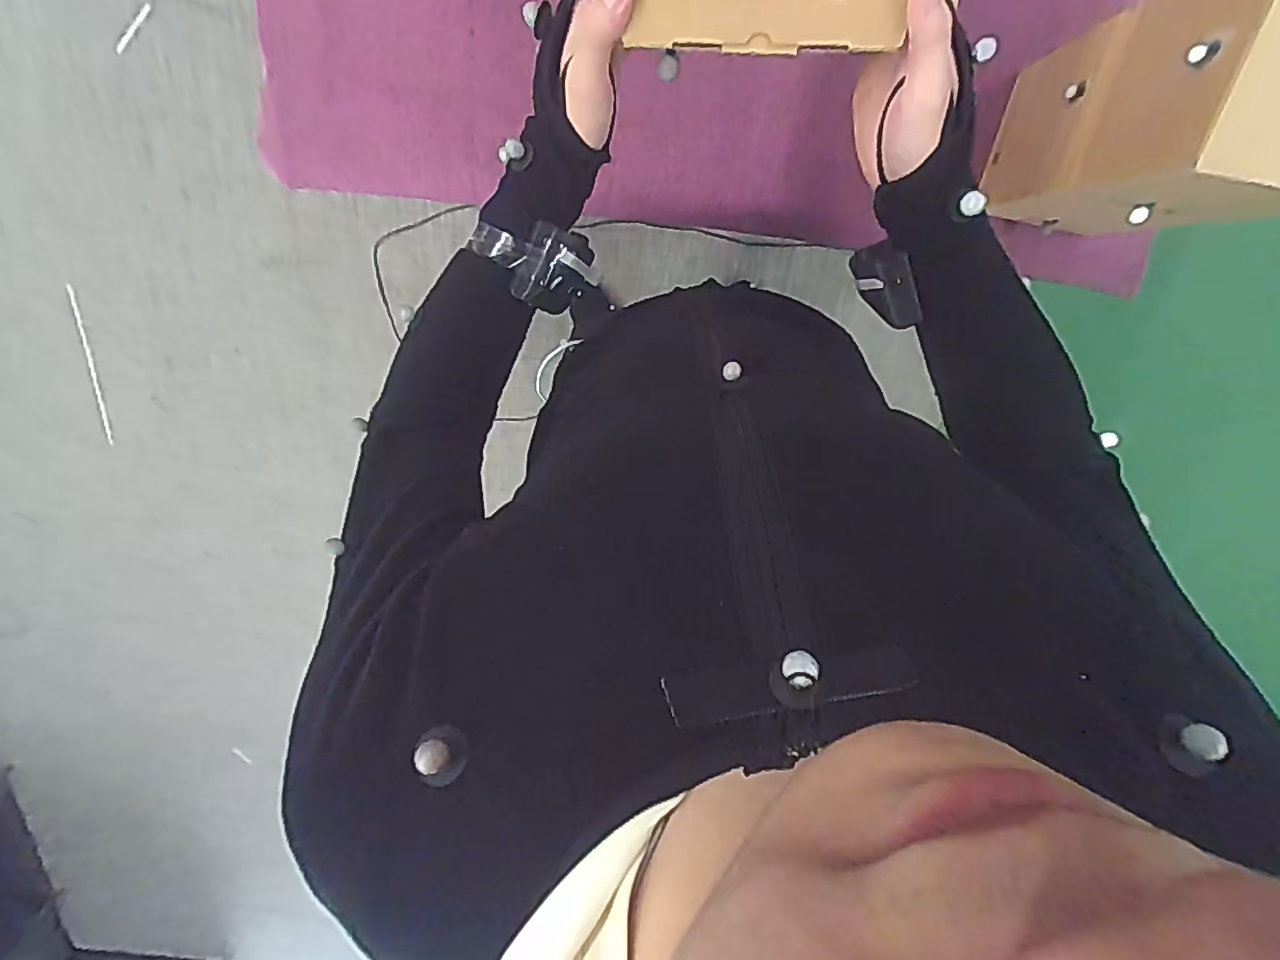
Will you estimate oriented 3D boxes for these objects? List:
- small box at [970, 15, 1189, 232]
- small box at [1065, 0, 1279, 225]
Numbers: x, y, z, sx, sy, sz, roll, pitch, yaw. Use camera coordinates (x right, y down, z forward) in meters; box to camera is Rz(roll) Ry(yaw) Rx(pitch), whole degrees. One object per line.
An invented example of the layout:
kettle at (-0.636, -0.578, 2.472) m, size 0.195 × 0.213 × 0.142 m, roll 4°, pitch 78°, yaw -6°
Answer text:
small box at (0.546, -0.400, 0.642) m, size 0.179 × 0.176 × 0.168 m, roll 10°, pitch 110°, yaw -2°
small box at (0.543, -0.346, 0.488) m, size 0.168 × 0.176 × 0.179 m, roll 11°, pitch 111°, yaw 0°
